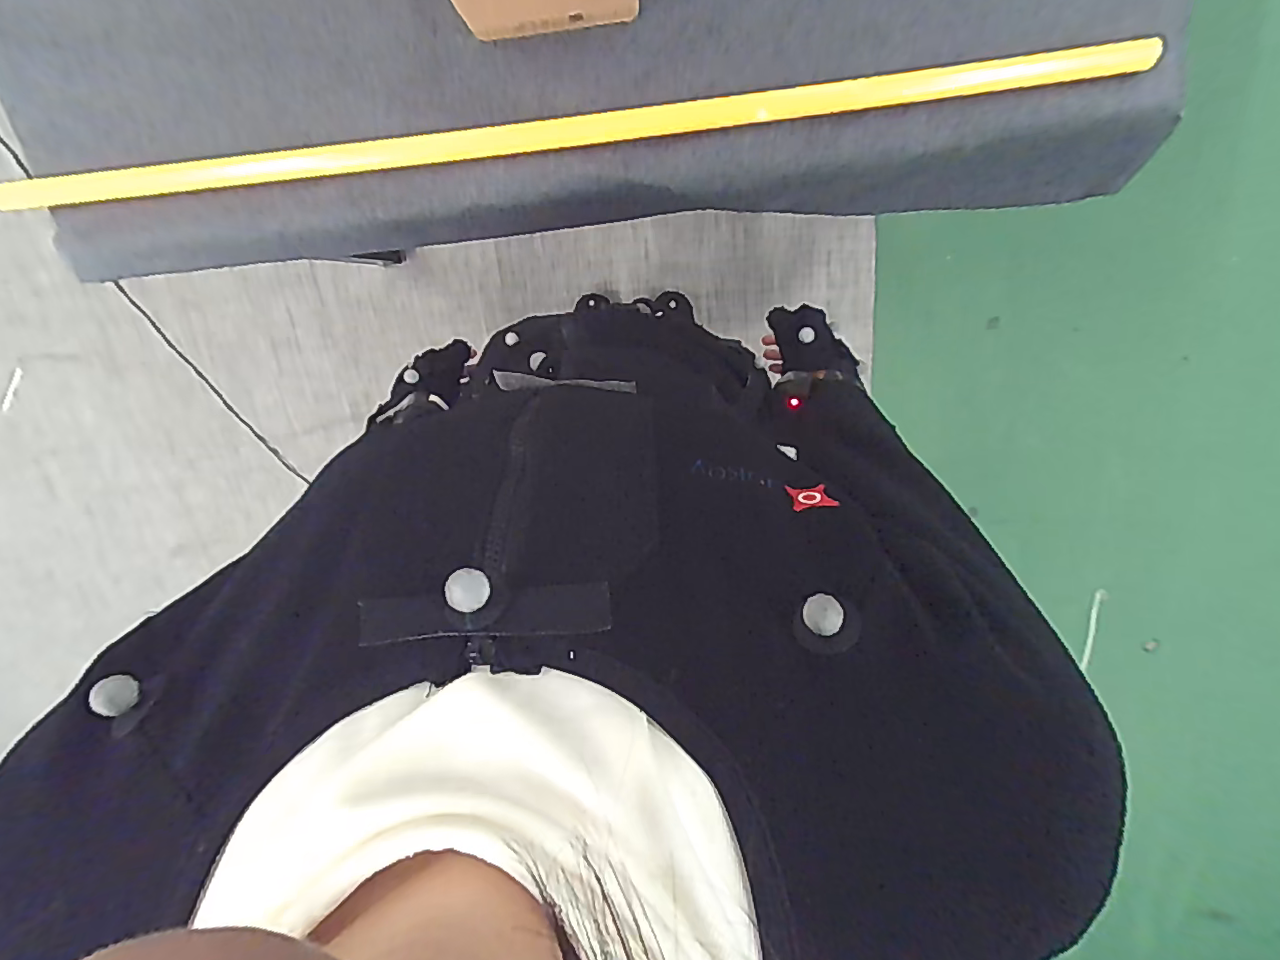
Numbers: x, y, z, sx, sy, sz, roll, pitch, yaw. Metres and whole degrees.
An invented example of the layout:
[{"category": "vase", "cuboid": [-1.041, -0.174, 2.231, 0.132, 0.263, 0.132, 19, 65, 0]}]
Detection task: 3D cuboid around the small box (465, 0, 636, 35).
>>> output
[{"category": "small box", "cuboid": [-0.094, -0.513, 0.440, 0.168, 0.176, 0.179, -5, 108, 4]}]
